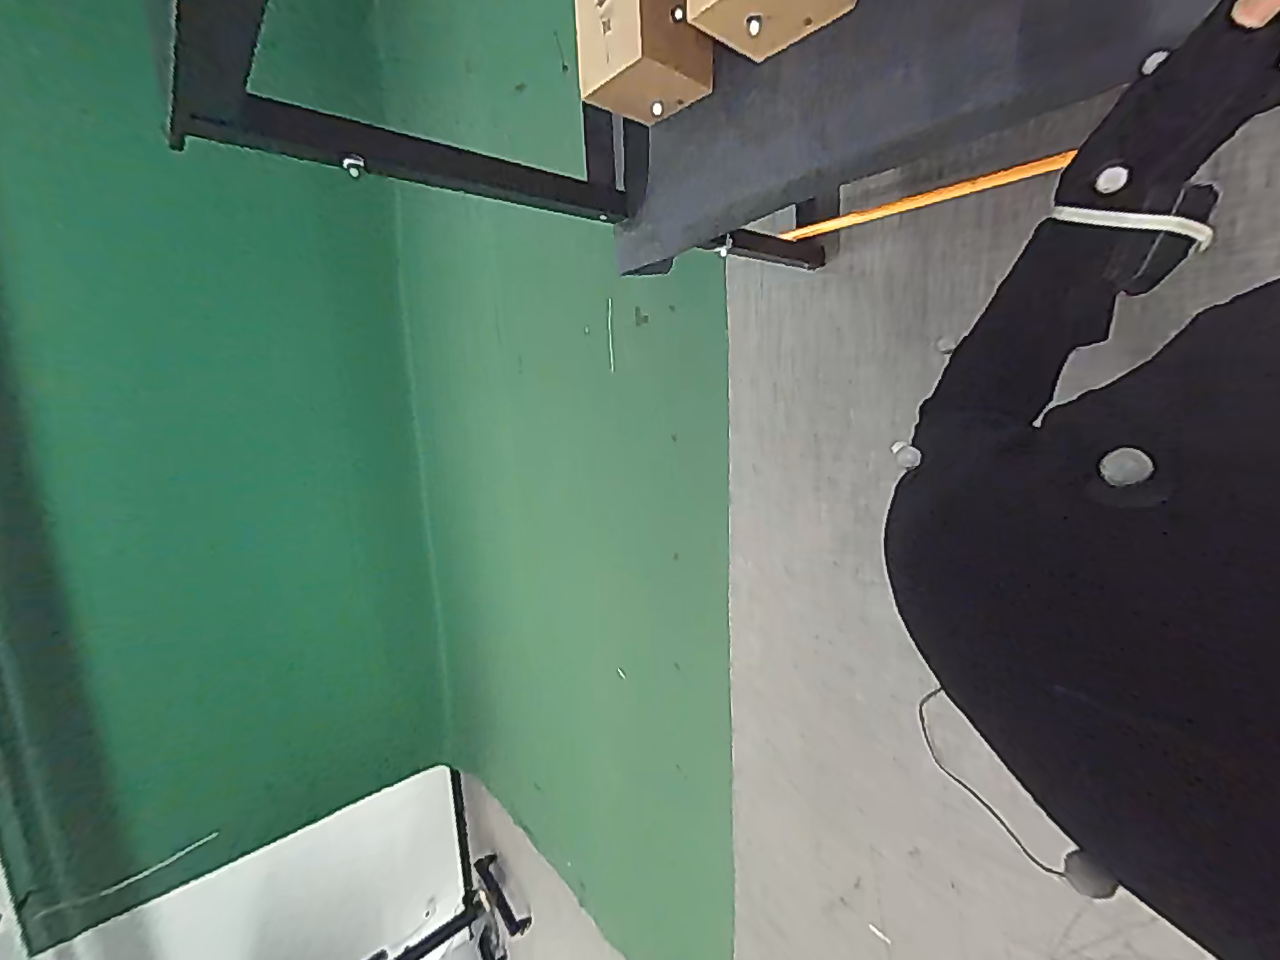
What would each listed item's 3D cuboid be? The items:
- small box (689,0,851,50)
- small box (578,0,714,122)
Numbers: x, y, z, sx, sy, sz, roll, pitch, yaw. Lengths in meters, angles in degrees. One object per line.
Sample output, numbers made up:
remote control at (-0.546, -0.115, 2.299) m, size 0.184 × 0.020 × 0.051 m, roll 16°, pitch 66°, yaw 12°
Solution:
small box at (0.181, -0.732, 0.736) m, size 0.168 × 0.176 × 0.179 m, roll 9°, pitch 104°, yaw 48°
small box at (0.013, -0.755, 0.923) m, size 0.168 × 0.176 × 0.179 m, roll 9°, pitch 106°, yaw 48°
